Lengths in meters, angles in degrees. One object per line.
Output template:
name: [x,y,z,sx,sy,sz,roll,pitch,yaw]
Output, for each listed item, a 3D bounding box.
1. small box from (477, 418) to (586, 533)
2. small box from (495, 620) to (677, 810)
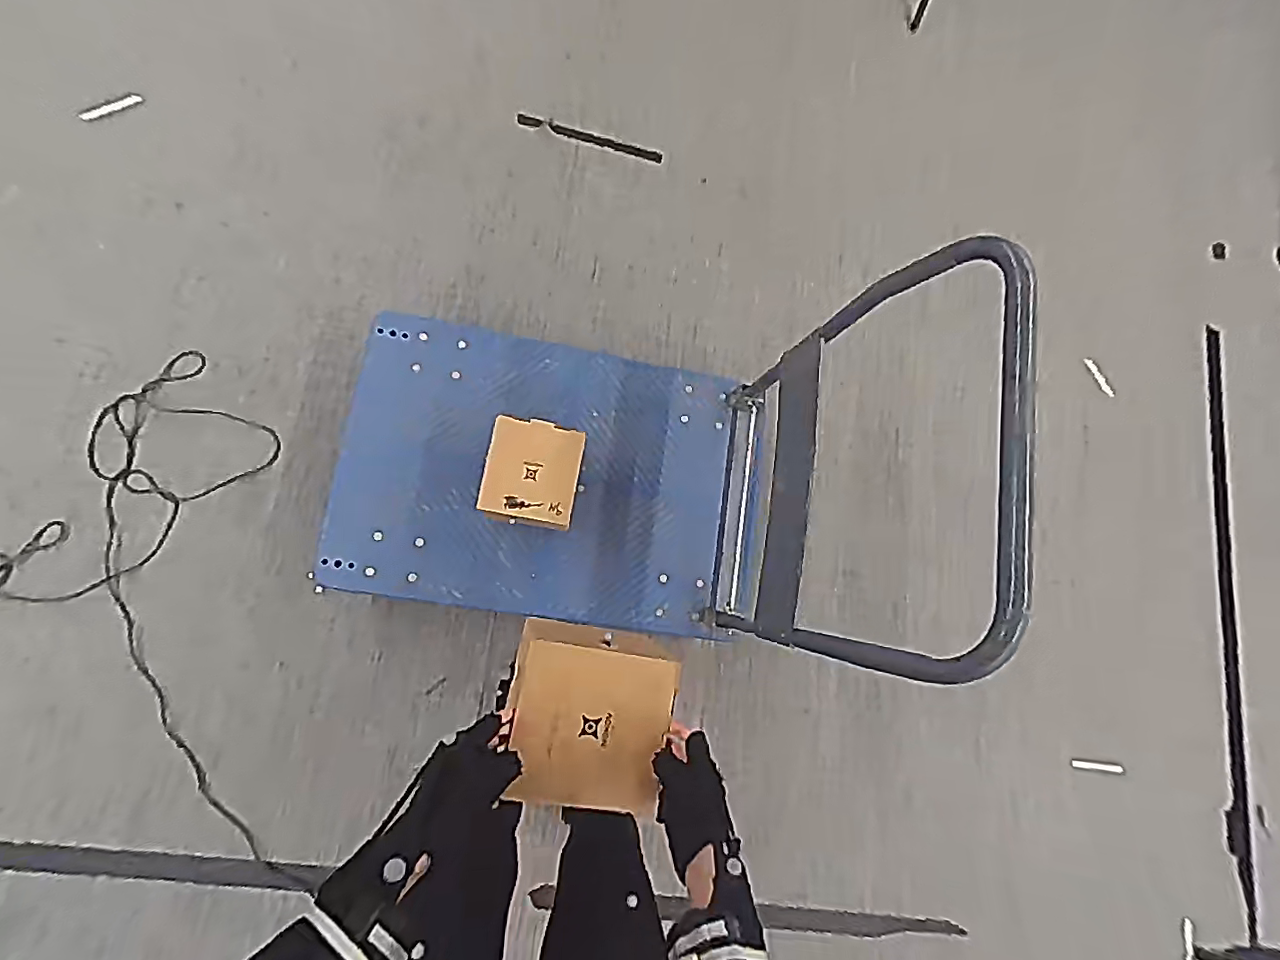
small box: [-0.207,-0.001,1.049,0.168,0.176,0.179,11,79,-7]
small box: [-0.073,0.276,0.669,0.179,0.176,0.168,13,80,-12]
